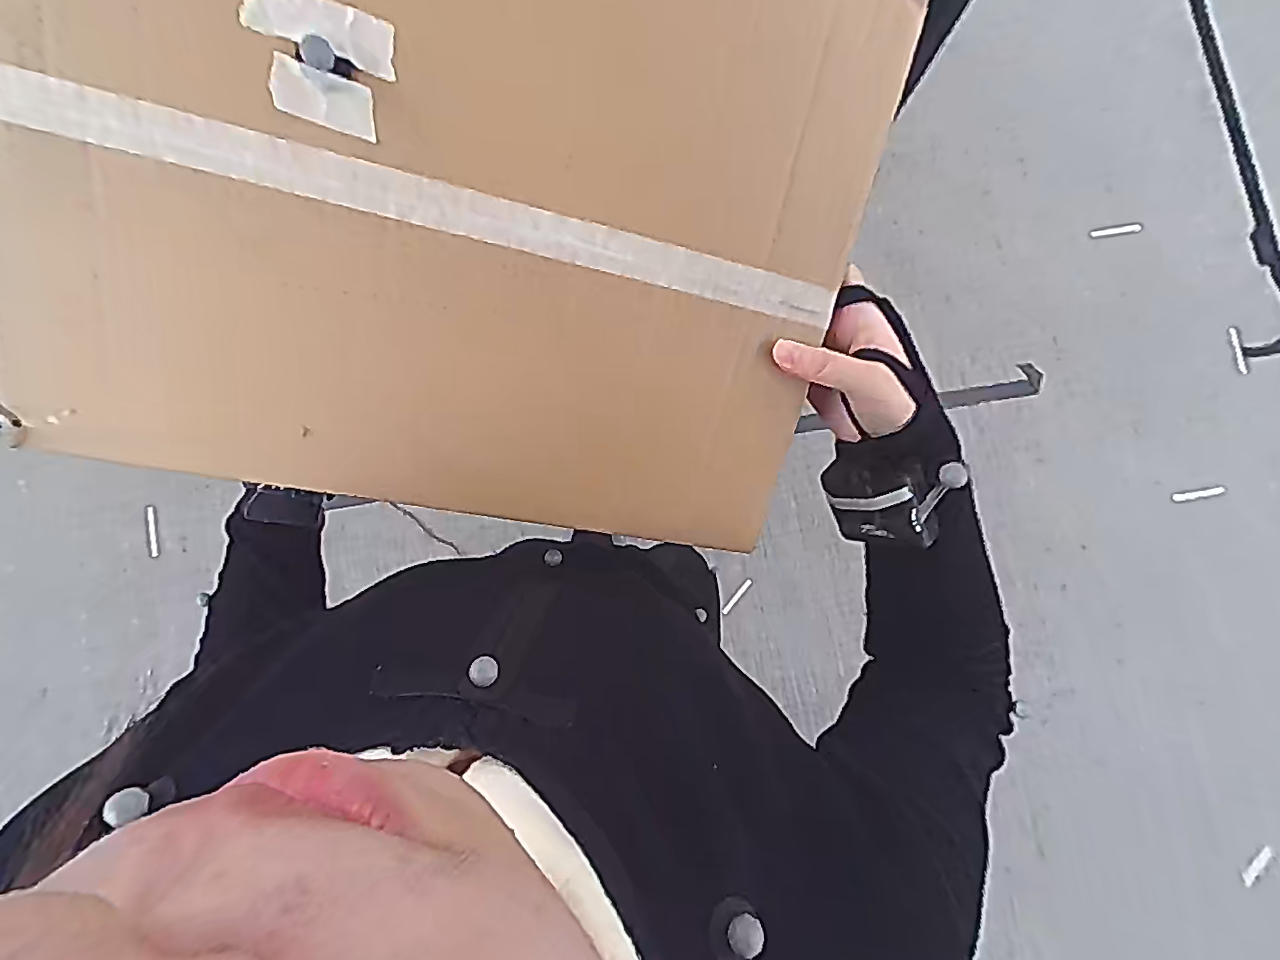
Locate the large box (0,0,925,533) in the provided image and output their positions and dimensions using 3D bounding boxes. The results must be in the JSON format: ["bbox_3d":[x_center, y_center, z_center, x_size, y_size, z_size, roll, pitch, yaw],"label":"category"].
[{"bbox_3d":[-0.104,-0.185,0.394,0.408,0.320,0.320,10,107,-12],"label":"large box"}]
